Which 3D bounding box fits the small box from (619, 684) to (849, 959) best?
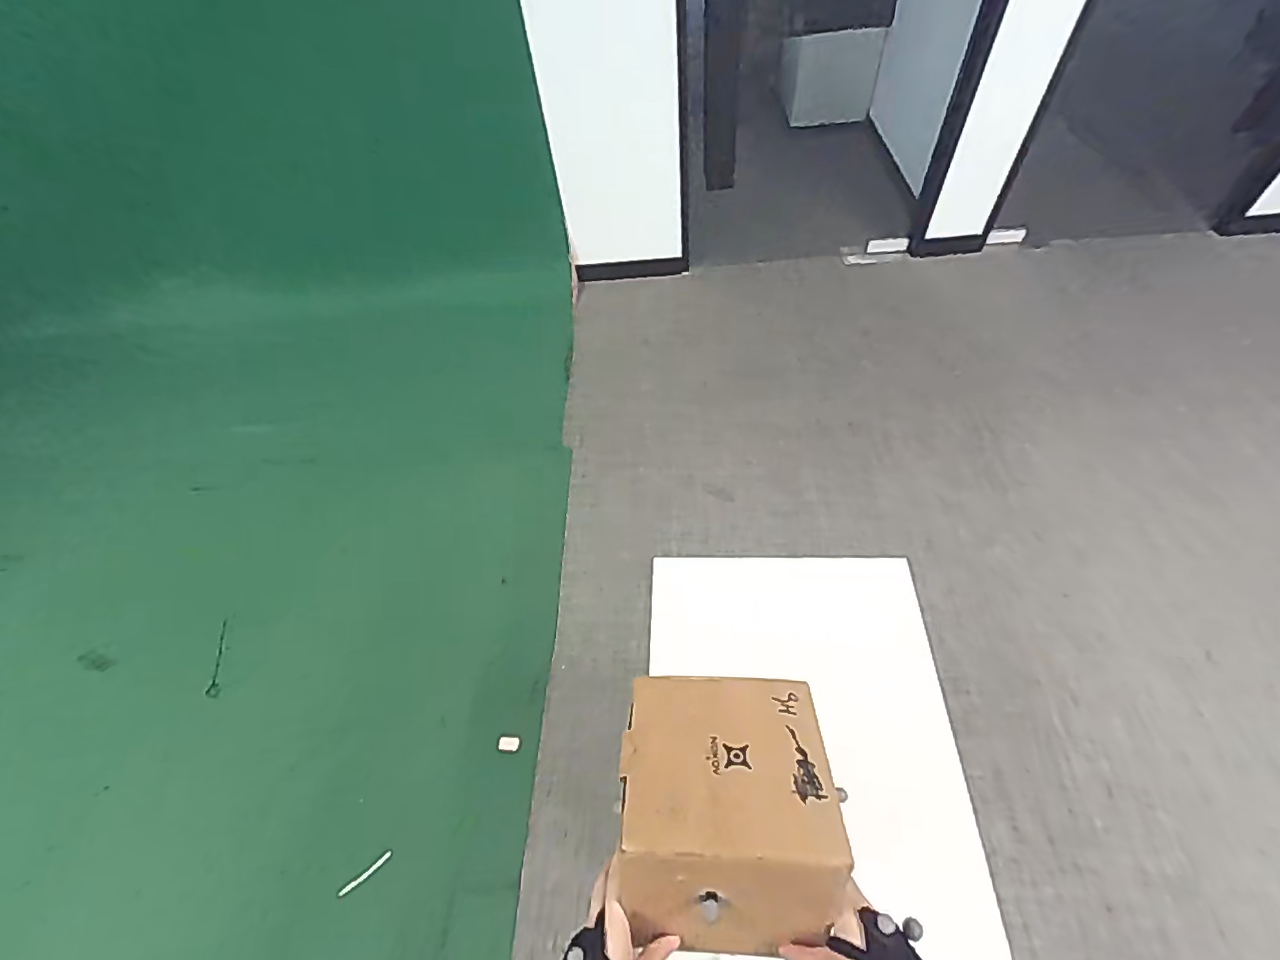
[{"bbox_3d":[0.079,0.318,0.511,0.179,0.176,0.168,0,30,4],"label":"small box"}]
